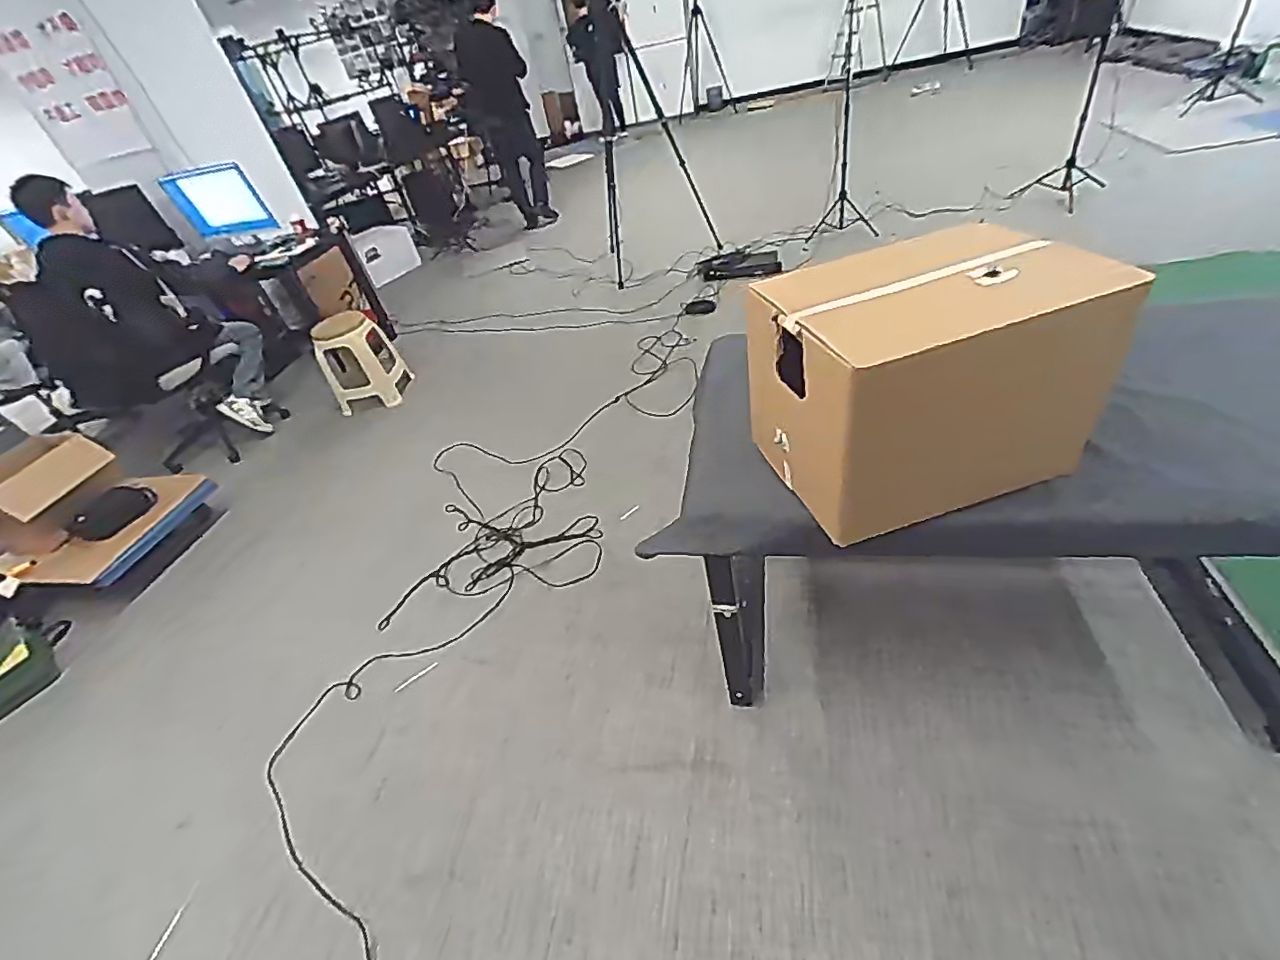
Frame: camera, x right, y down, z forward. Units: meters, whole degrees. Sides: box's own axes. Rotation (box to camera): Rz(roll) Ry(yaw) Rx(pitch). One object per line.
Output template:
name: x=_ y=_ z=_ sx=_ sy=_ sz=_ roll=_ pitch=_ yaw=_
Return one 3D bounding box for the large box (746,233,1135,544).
large box: x=0.418 y=-0.155 z=0.861 sx=0.408 sy=0.320 sz=0.320 roll=-17 pitch=40 yaw=-6
